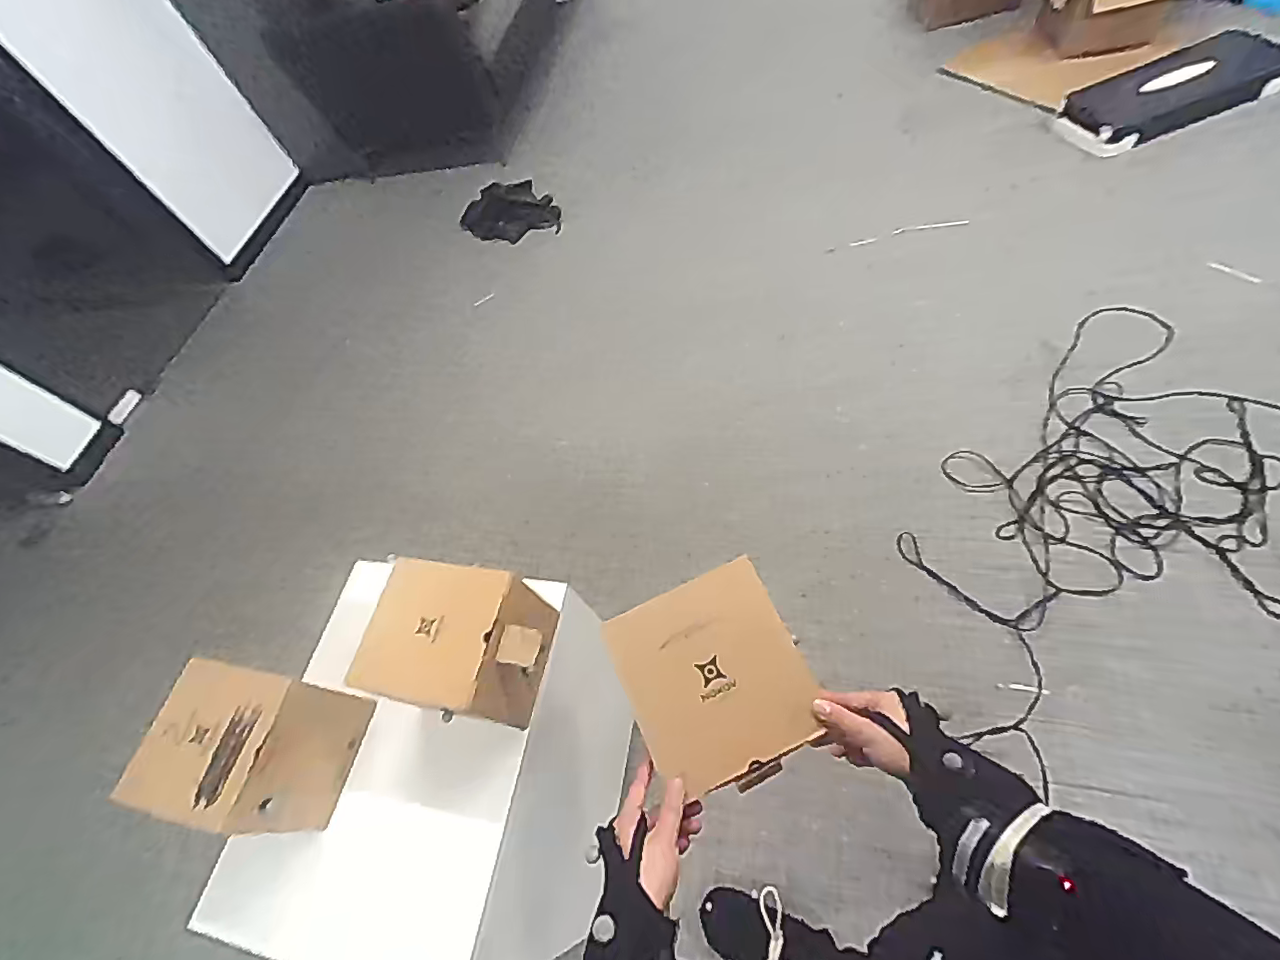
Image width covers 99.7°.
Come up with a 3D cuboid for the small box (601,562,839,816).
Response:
[{"bbox_3d":[0.077,0.210,0.573,0.168,0.176,0.179,-25,70,-4],"label":"small box"}]

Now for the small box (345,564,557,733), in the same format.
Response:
[{"bbox_3d":[-0.235,0.227,0.718,0.179,0.176,0.168,3,60,17],"label":"small box"}]
